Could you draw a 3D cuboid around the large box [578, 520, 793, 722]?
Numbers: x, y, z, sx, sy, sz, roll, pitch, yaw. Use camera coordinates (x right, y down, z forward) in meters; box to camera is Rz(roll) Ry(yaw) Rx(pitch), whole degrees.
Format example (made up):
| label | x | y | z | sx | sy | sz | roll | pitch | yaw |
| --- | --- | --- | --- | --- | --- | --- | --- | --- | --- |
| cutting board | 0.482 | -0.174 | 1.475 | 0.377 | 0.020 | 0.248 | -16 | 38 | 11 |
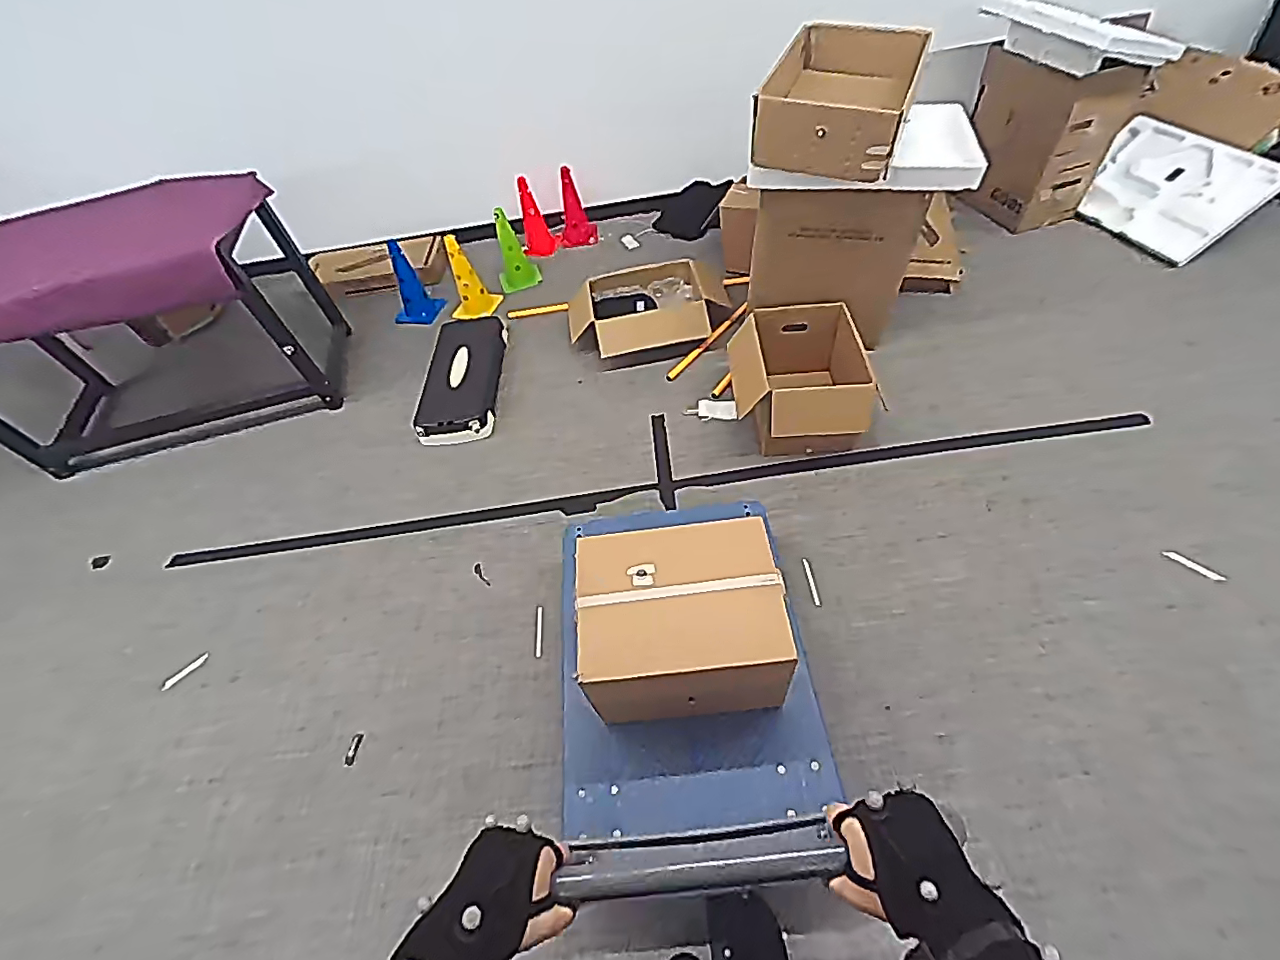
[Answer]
| label | x | y | z | sx | sy | sz | roll | pitch | yaw |
| --- | --- | --- | --- | --- | --- | --- | --- | --- | --- |
| large box | 0.093 | 0.324 | 1.210 | 0.408 | 0.320 | 0.320 | -8 | 51 | 3 |
